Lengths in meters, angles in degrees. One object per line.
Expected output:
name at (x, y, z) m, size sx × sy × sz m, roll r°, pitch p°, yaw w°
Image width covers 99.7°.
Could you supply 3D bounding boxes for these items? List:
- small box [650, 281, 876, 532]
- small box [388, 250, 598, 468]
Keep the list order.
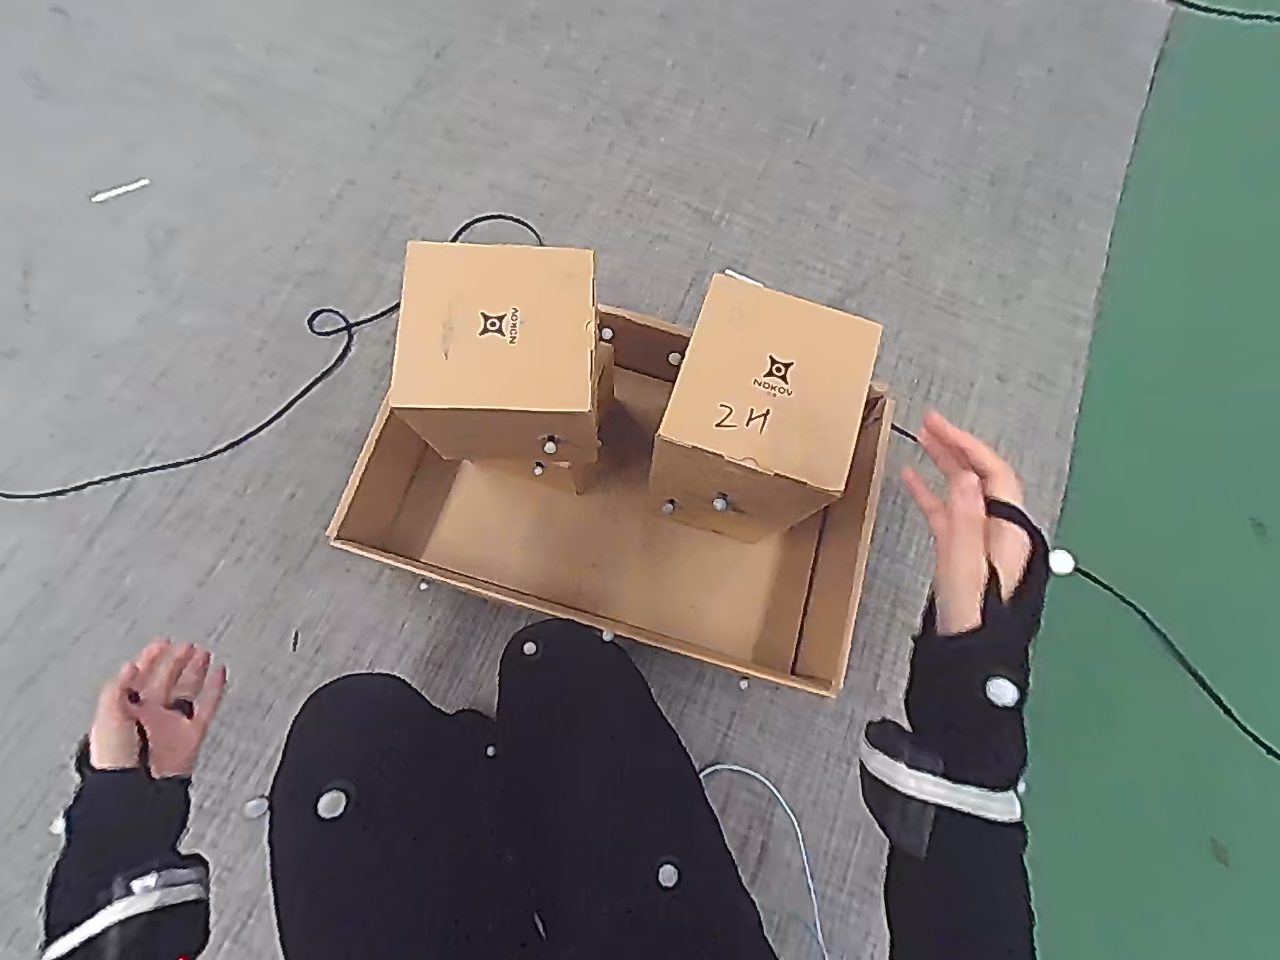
small box at (0.113, -0.063, 0.559) m, size 0.168 × 0.176 × 0.179 m, roll 19°, pitch 75°, yaw 3°
small box at (-0.134, -0.113, 0.566) m, size 0.179 × 0.176 × 0.168 m, roll 1°, pitch 76°, yaw -3°
